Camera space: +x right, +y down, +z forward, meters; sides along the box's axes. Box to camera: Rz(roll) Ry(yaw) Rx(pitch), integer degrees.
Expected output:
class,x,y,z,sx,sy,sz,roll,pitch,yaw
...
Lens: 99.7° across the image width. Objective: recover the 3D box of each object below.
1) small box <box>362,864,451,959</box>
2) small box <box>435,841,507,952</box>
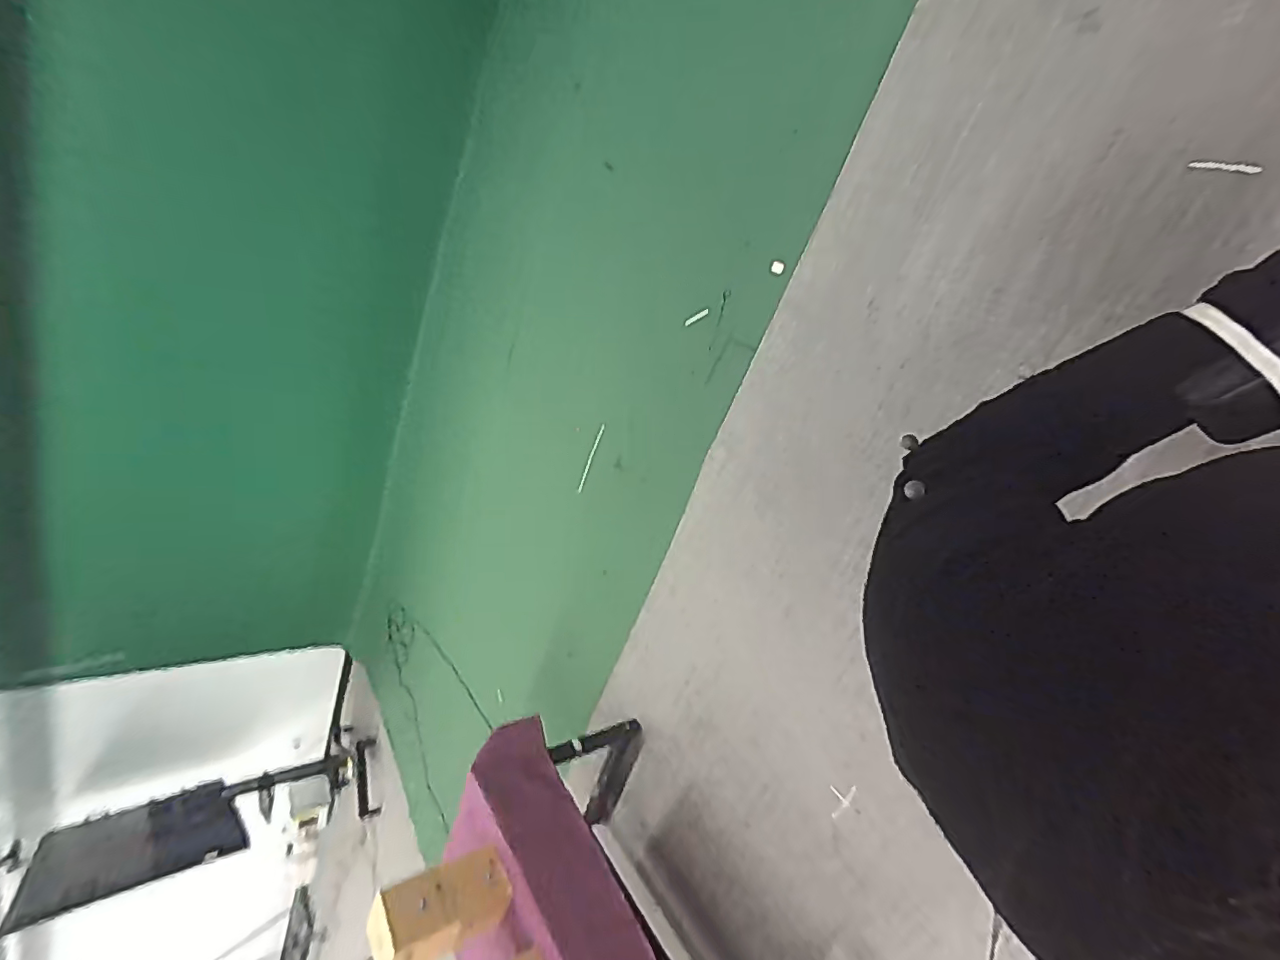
class,x,y,z,sx,sy,sz,roll,pitch,yaw
small box,-0.633,1.203,1.474,0.168,0.176,0.179,42,117,42
small box,-0.510,1.212,1.584,0.168,0.176,0.179,43,118,40
